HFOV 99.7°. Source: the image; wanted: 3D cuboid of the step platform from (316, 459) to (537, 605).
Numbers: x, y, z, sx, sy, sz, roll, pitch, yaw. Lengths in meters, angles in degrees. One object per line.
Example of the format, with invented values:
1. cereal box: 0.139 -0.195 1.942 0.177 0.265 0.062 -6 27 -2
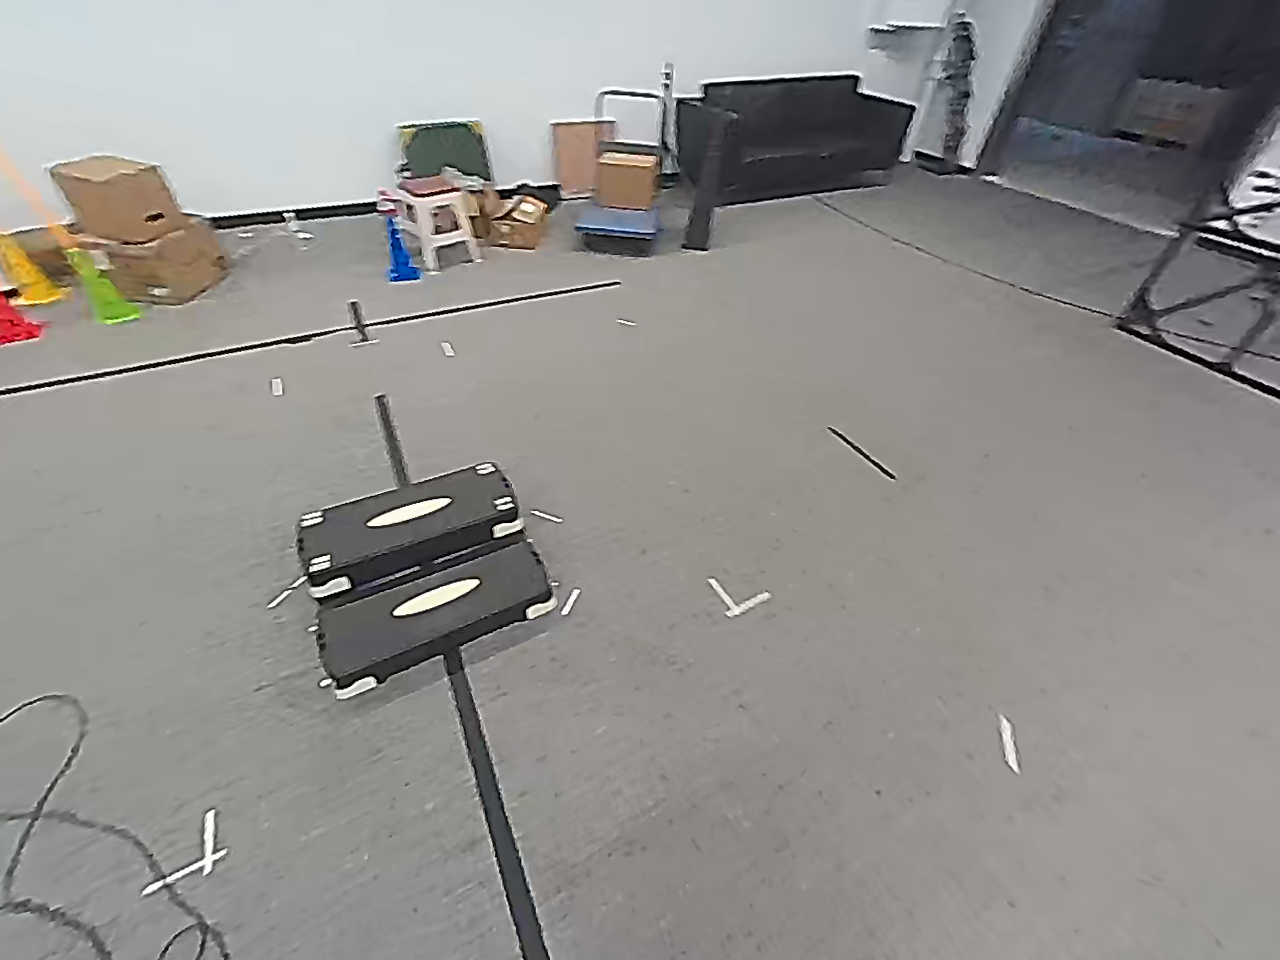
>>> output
1. step platform: -0.712 0.155 1.846 0.684 0.204 0.286 -18 47 -23
